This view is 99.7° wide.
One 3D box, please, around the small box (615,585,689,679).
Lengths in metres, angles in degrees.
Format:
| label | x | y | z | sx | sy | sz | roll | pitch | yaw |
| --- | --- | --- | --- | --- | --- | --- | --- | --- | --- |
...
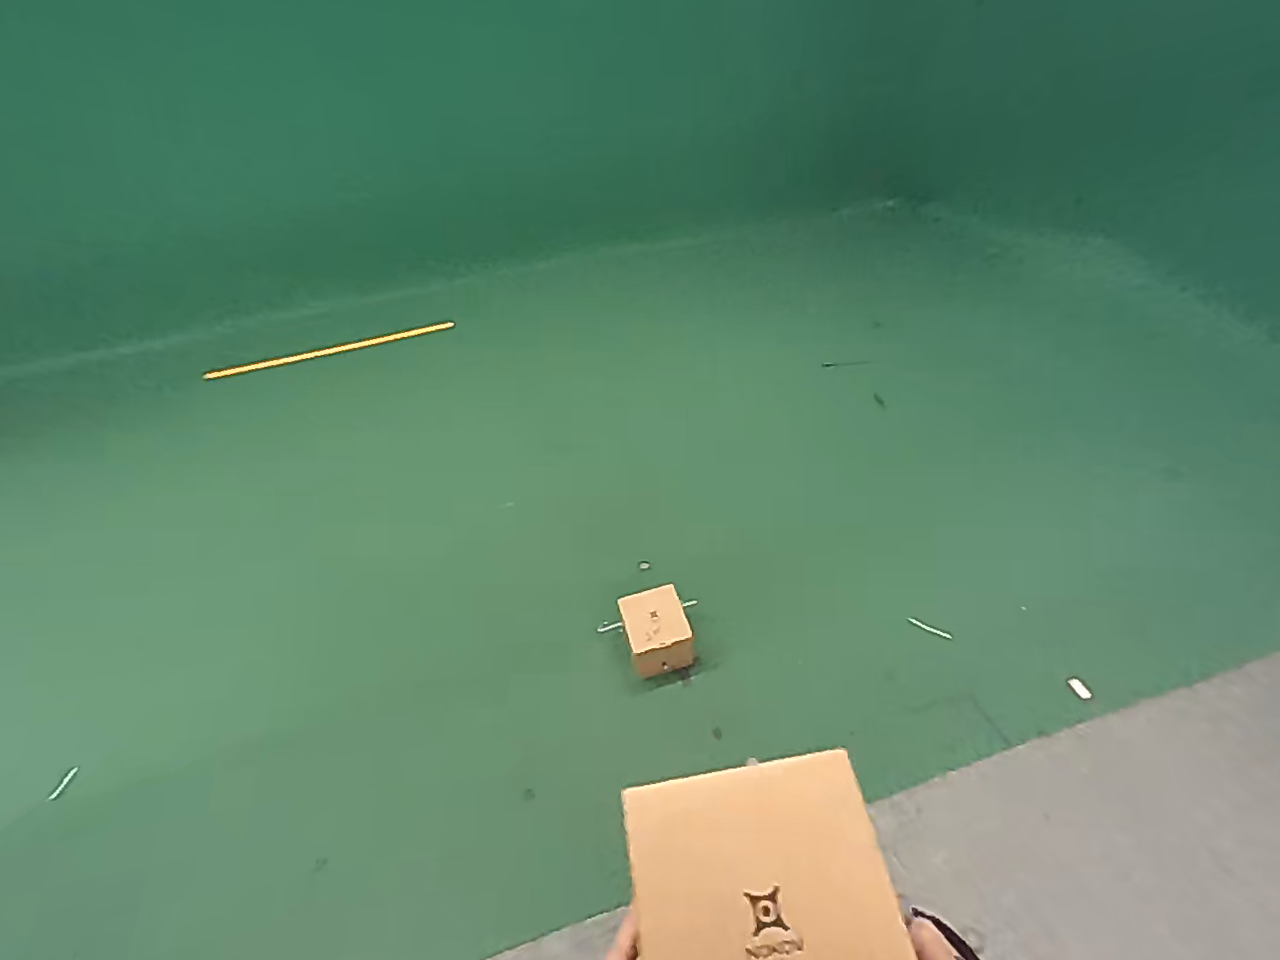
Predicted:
| label | x | y | z | sx | sy | sz | roll | pitch | yaw |
| --- | --- | --- | --- | --- | --- | --- | --- | --- | --- |
| small box | 0.032 | 0.429 | 1.523 | 0.168 | 0.176 | 0.179 | -14 | 47 | -9 |
